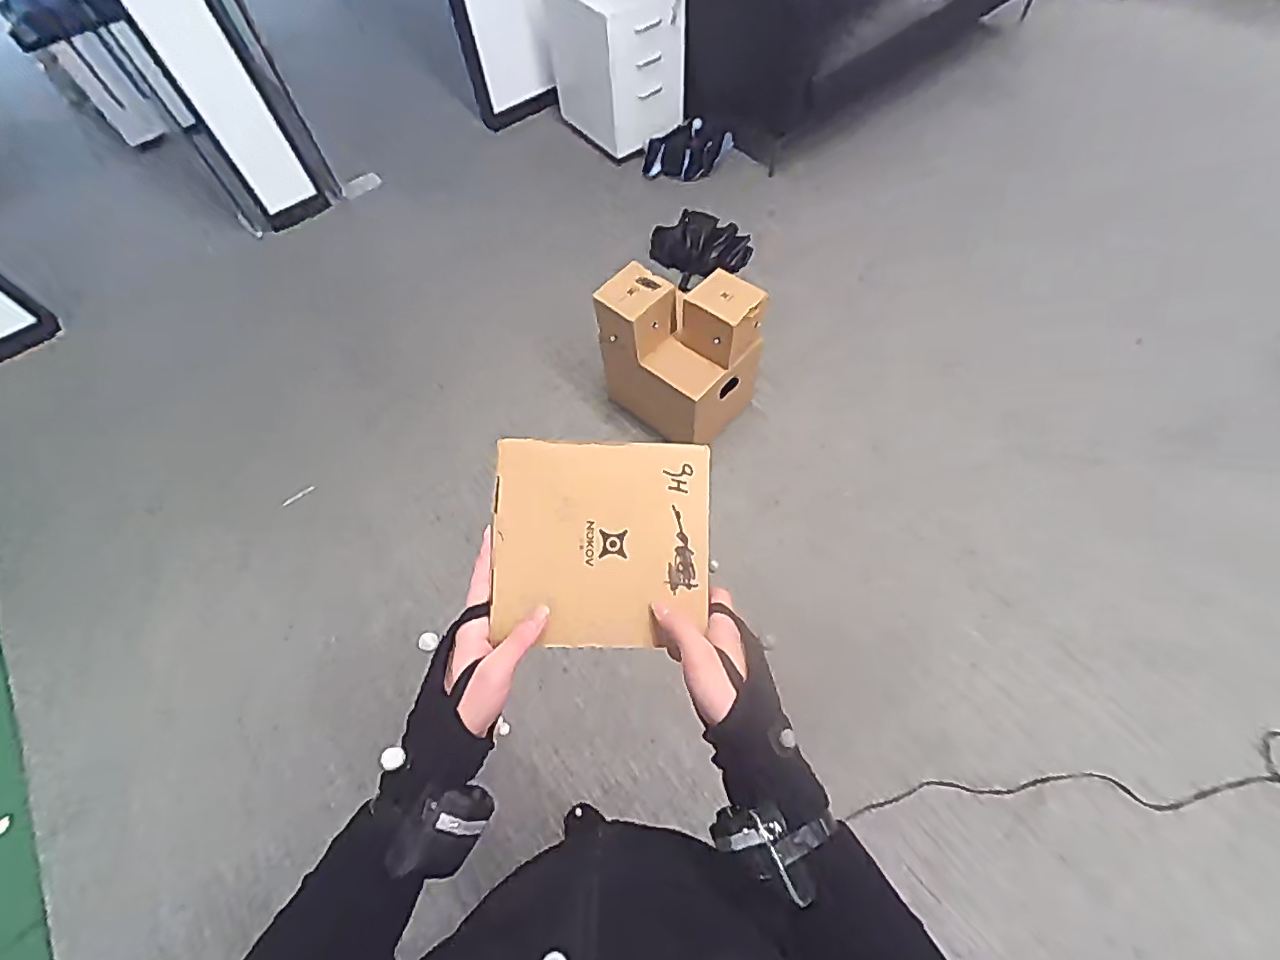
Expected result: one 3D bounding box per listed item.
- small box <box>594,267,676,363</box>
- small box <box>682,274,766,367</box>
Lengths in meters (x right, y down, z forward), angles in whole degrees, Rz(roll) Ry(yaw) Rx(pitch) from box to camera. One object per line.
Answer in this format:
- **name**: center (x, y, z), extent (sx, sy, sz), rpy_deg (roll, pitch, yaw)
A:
- **small box**: center (-0.011, -0.482, 1.589), extent (0.168, 0.176, 0.179), rpy_deg (39, 73, 23)
- **small box**: center (0.236, -0.452, 1.555), extent (0.179, 0.176, 0.168), rpy_deg (34, 64, 22)
